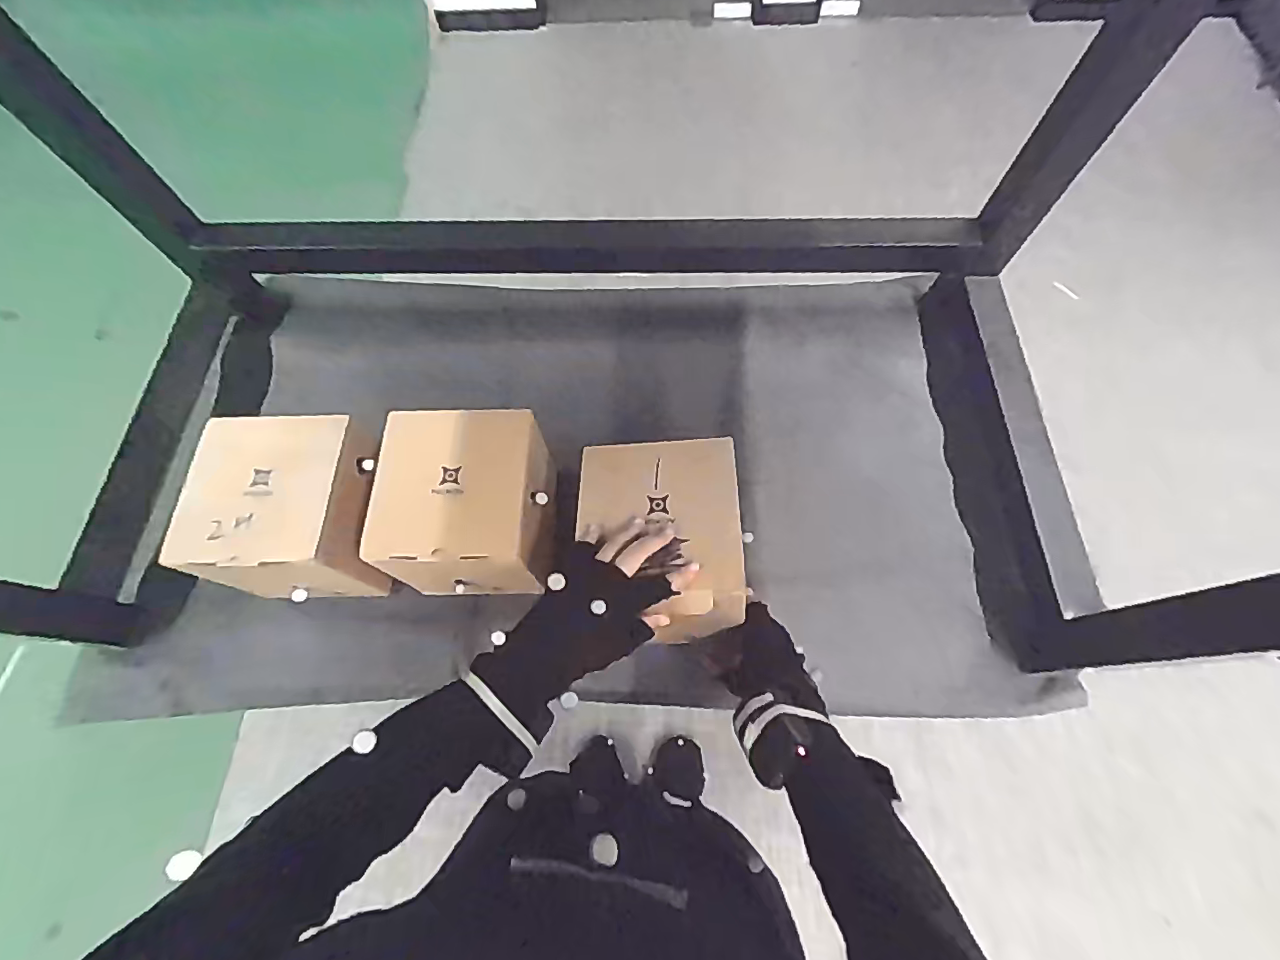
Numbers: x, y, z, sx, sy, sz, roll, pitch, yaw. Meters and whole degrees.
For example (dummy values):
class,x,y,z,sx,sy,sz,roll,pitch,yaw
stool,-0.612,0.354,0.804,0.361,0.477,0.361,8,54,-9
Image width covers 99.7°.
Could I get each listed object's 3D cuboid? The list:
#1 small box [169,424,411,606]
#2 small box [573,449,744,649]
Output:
class,x,y,z,sx,sy,sz,roll,pitch,yaw
small box,-0.403,0.048,0.663,0.168,0.176,0.179,-1,65,2
small box,0.030,0.087,0.613,0.168,0.176,0.179,-3,56,7
